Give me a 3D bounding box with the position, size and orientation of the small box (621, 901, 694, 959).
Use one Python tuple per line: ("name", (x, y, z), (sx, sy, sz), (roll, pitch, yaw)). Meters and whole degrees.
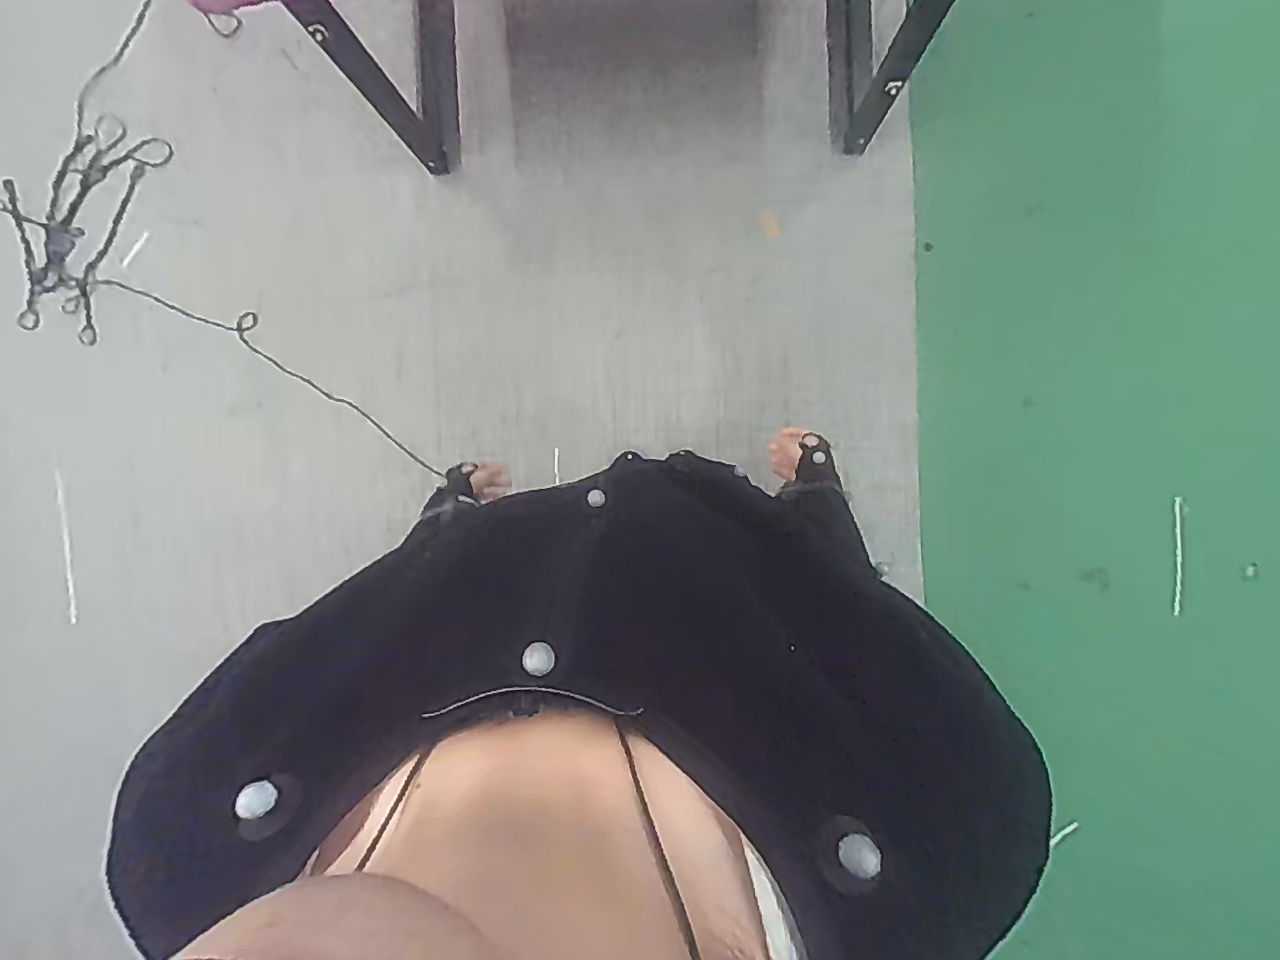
("small box", (0.037, 1.166, 1.301), (0.168, 0.176, 0.179), (5, 93, 5))
